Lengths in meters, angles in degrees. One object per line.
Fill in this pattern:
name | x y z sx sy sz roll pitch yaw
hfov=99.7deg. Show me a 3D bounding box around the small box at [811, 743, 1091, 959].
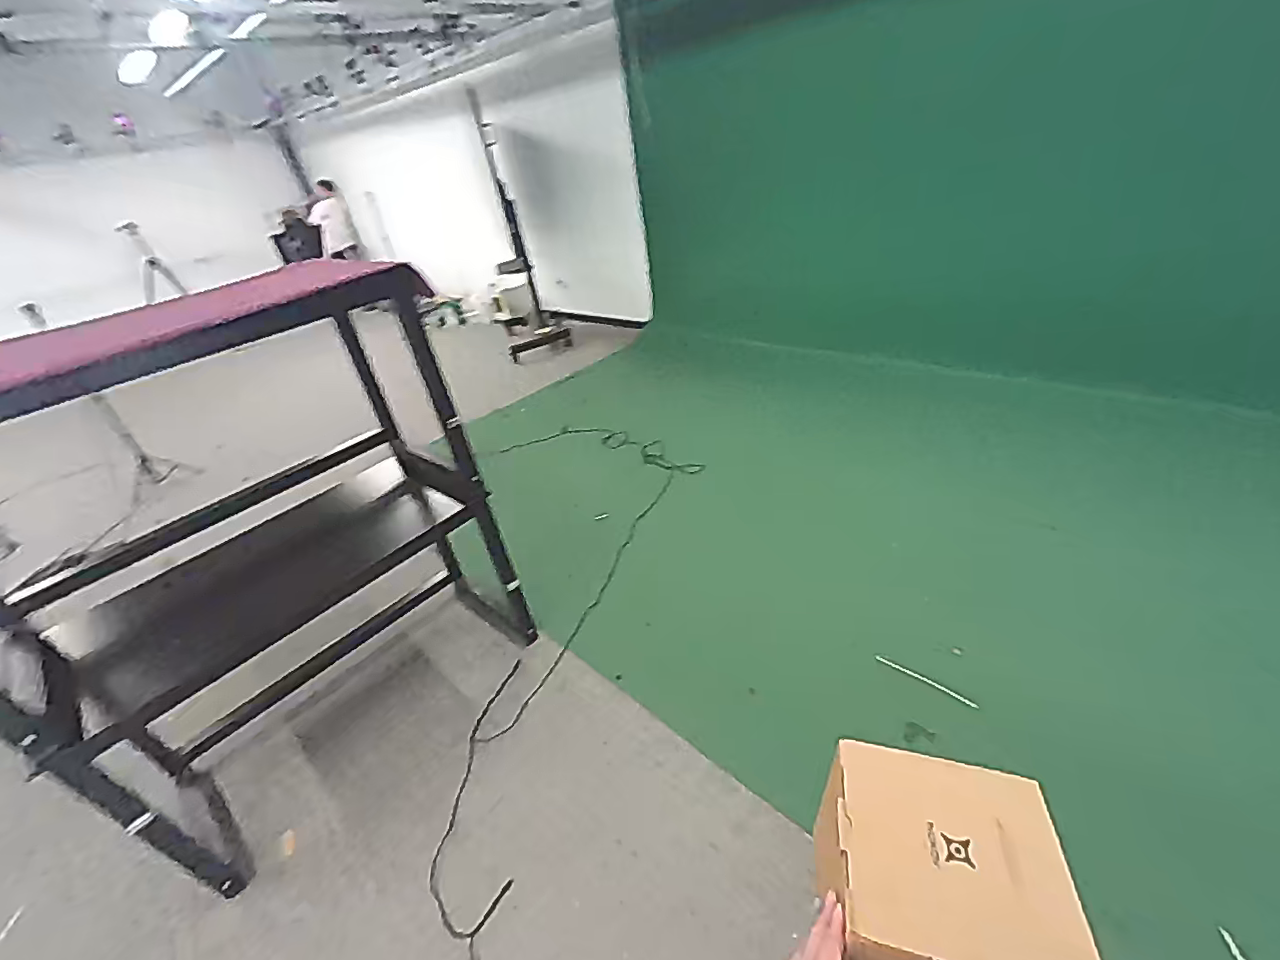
small box | 0.252 0.377 0.485 0.179 0.176 0.168 7 32 13
